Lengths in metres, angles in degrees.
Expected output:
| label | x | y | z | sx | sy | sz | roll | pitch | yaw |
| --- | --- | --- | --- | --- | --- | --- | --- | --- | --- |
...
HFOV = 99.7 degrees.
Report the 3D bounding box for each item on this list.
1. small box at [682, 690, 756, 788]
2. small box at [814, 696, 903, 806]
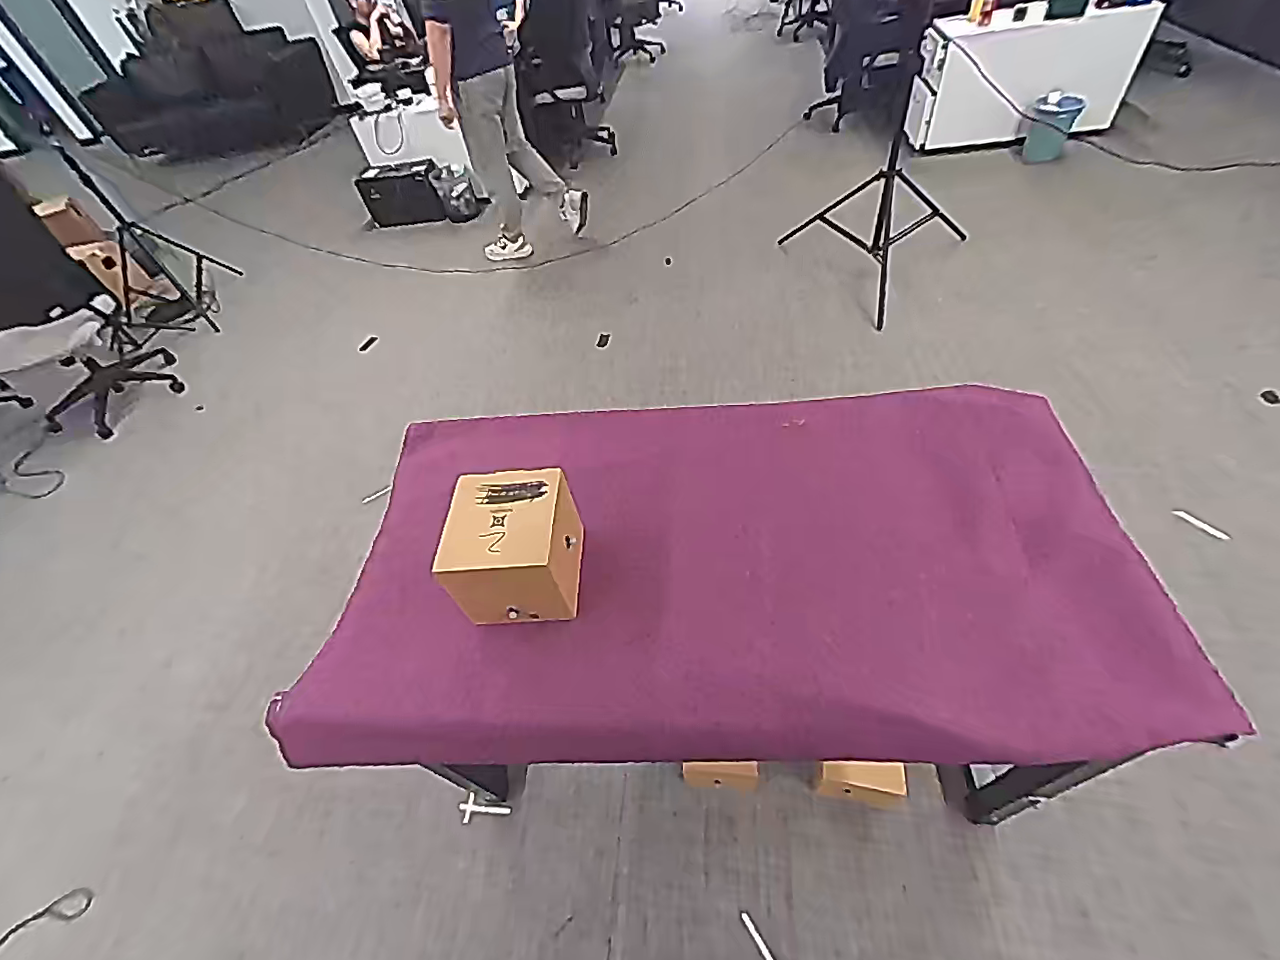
| label | x | y | z | sx | sy | sz | roll | pitch | yaw |
| --- | --- | --- | --- | --- | --- | --- | --- | --- | --- |
| small box | 0.194 | 0.626 | 1.300 | 0.168 | 0.176 | 0.179 | 0 | 49 | 10 |
| small box | 0.498 | 0.627 | 1.246 | 0.168 | 0.176 | 0.179 | 5 | 50 | 15 |
